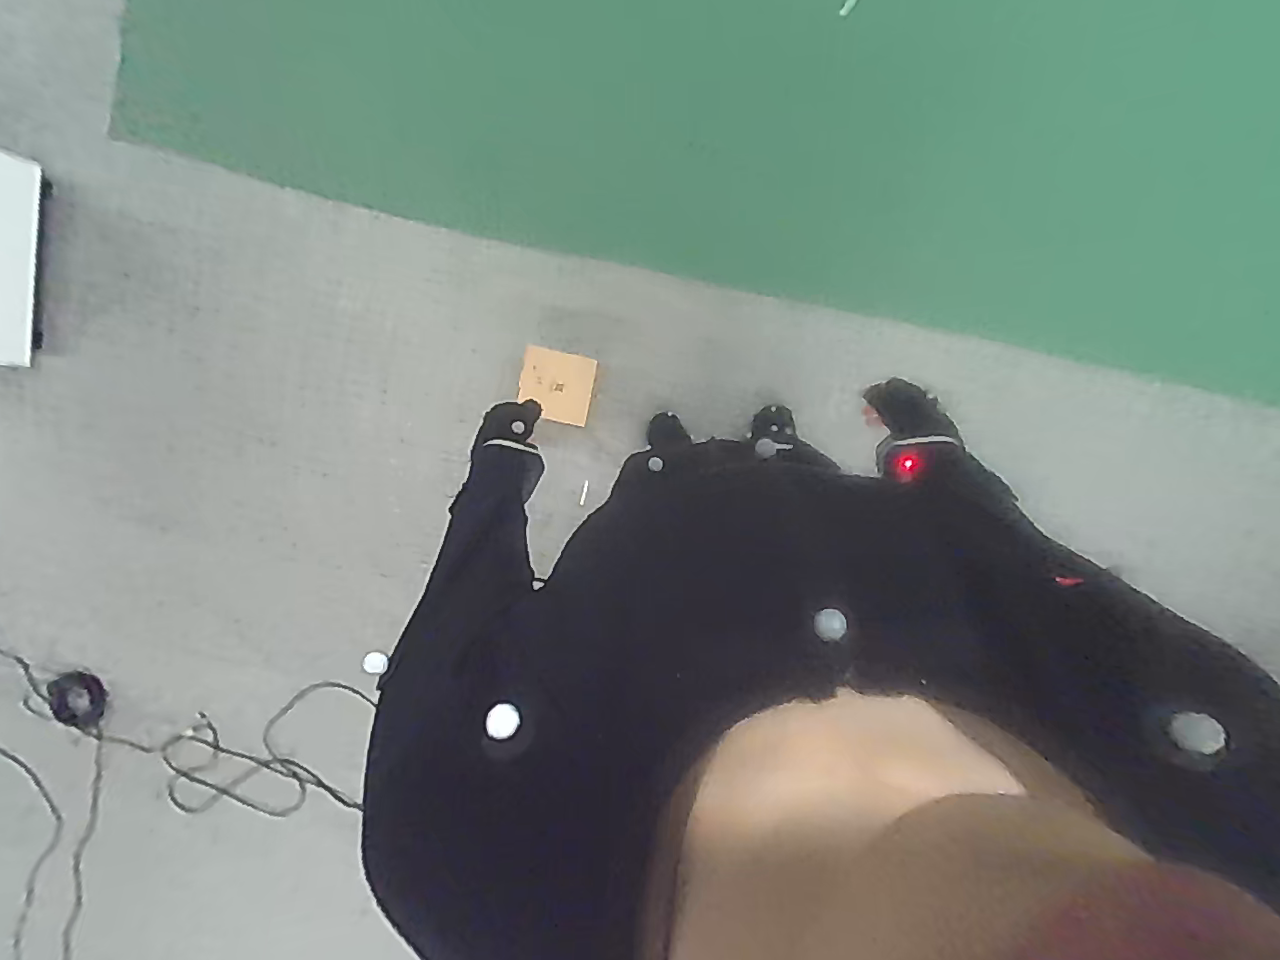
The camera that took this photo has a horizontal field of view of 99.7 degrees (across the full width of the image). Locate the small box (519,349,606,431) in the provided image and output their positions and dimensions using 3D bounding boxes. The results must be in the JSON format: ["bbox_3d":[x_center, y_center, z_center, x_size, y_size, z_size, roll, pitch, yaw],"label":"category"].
[{"bbox_3d":[-0.188,-0.226,1.367,0.179,0.176,0.168,12,98,0],"label":"small box"}]
